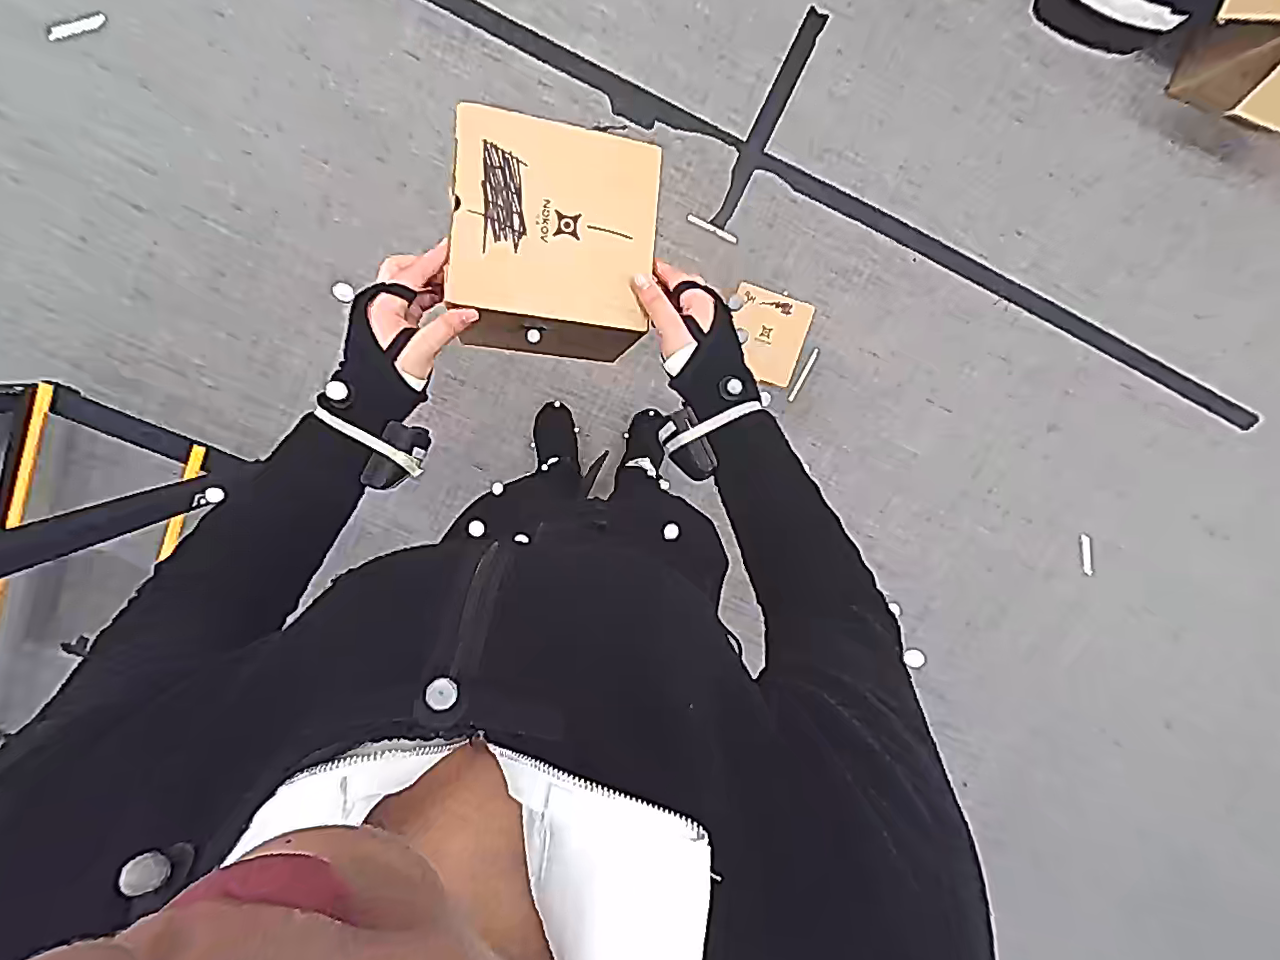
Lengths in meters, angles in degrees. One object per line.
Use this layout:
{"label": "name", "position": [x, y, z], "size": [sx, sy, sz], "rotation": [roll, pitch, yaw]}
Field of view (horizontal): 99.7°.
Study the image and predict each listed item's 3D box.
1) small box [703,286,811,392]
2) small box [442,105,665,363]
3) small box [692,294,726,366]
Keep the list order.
{"label": "small box", "position": [0.244, -0.305, 1.187], "size": [0.168, 0.176, 0.179], "rotation": [17, 102, -6]}
{"label": "small box", "position": [-0.089, -0.218, 0.534], "size": [0.179, 0.176, 0.168], "rotation": [5, 92, -15]}
{"label": "small box", "position": [0.244, -0.346, 1.345], "size": [0.179, 0.176, 0.168], "rotation": [18, 101, -6]}
